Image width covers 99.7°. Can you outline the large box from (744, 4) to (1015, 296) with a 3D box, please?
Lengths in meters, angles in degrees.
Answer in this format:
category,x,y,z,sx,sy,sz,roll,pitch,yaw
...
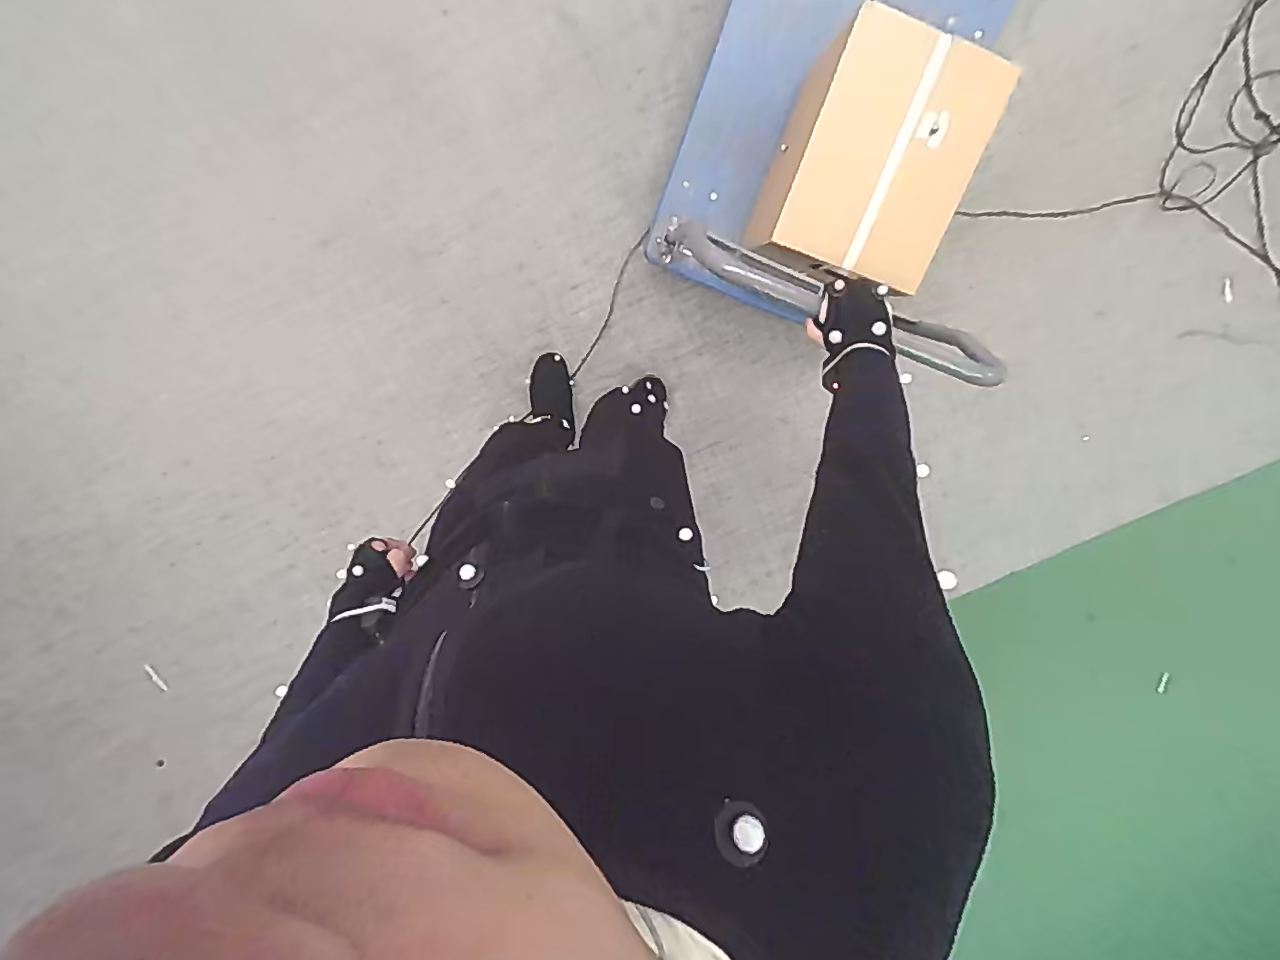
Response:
category,x,y,z,sx,sy,sz,roll,pitch,yaw
large box,0.454,-0.630,1.131,0.320,0.320,0.408,17,107,-8
